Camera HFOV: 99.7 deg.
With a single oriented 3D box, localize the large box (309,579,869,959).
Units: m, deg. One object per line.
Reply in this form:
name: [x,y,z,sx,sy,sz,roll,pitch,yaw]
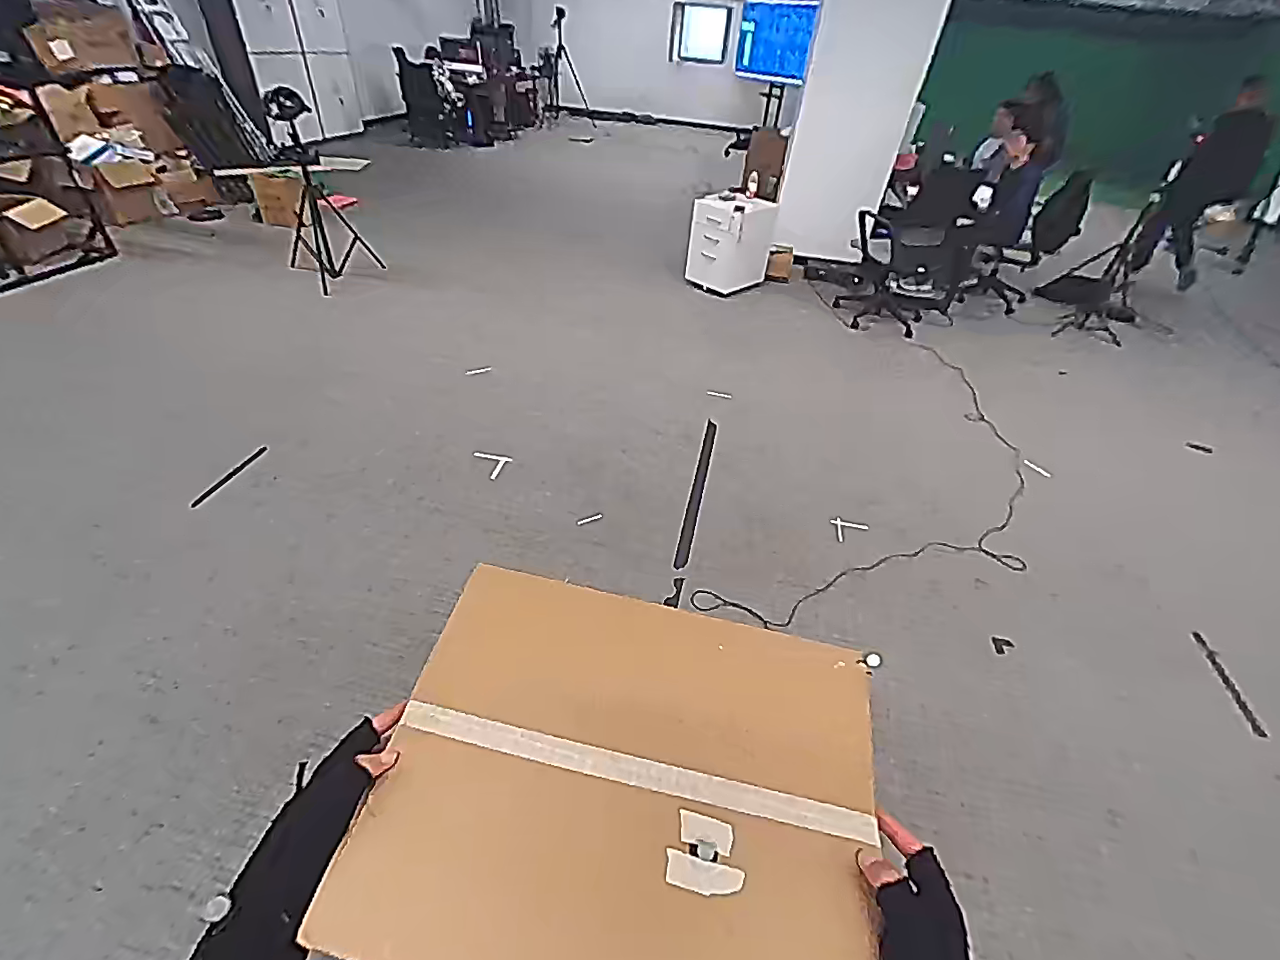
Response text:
large box: [-0.024,0.351,0.570,0.408,0.320,0.320,13,50,4]
